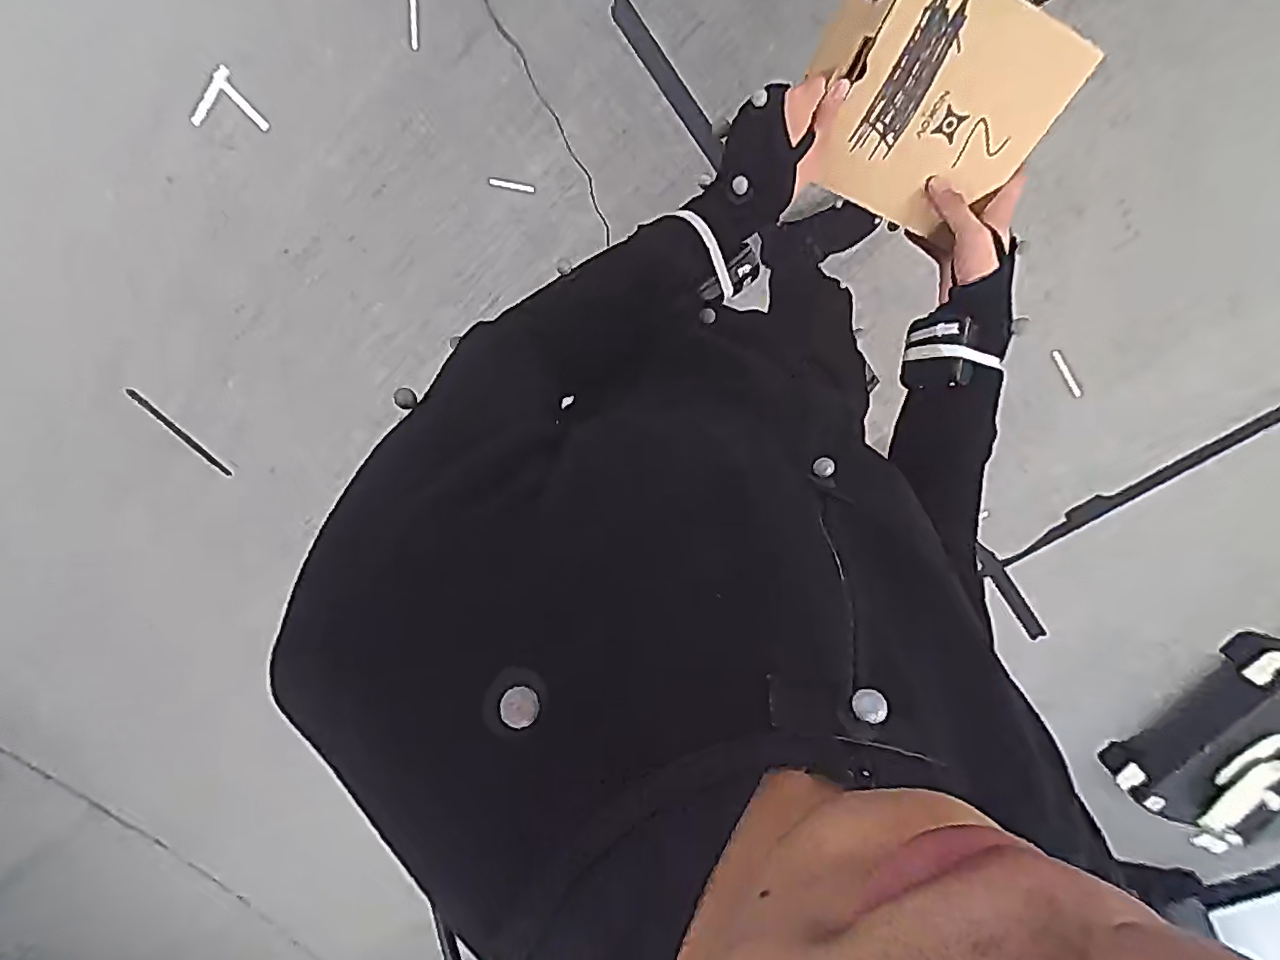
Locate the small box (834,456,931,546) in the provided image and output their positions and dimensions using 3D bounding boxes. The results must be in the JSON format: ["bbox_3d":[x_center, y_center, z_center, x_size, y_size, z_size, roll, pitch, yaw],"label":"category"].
[{"bbox_3d":[0.693,0.050,1.568,0.168,0.176,0.179,-40,105,21],"label":"small box"}]
